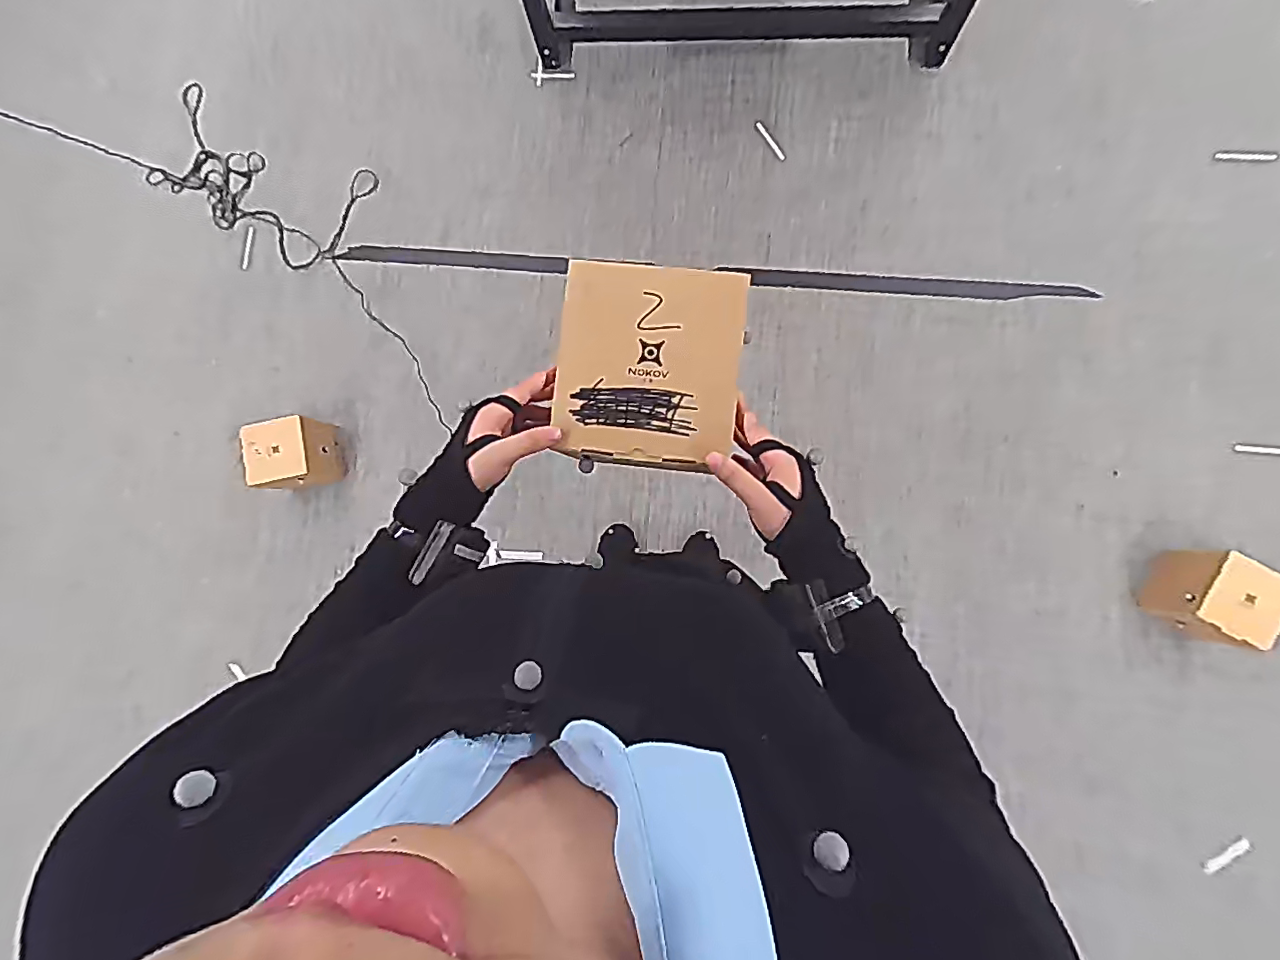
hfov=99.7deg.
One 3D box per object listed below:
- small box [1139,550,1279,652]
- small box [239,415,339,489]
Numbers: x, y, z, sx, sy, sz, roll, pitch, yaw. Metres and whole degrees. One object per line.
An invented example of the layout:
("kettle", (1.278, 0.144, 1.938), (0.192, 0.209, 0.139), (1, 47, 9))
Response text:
("small box", (1.377, 0.282, 1.306), (0.168, 0.176, 0.179), (30, 88, 6))
("small box", (-0.975, -0.074, 1.520), (0.179, 0.176, 0.168), (-11, 84, 4))
